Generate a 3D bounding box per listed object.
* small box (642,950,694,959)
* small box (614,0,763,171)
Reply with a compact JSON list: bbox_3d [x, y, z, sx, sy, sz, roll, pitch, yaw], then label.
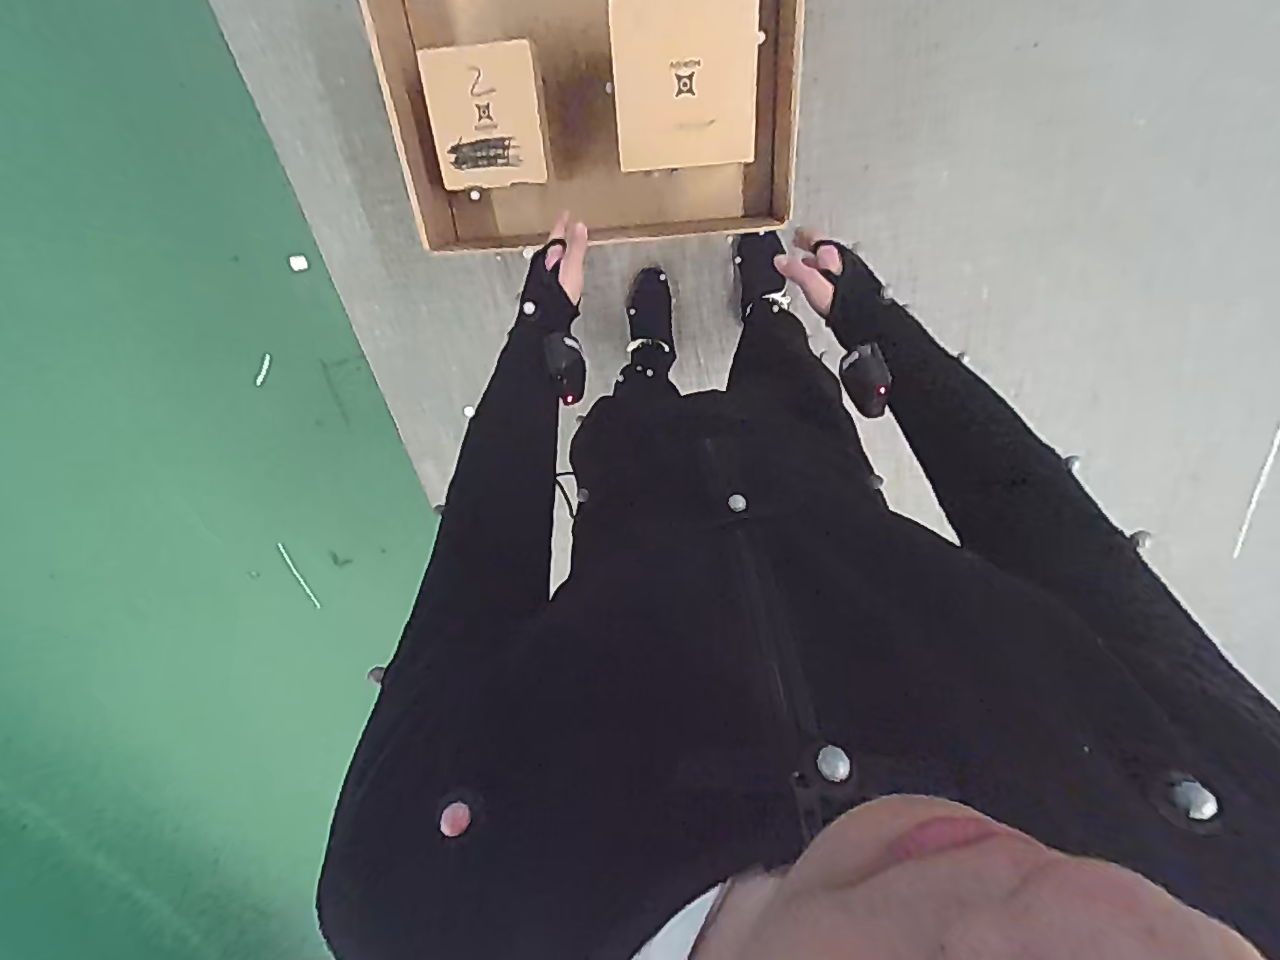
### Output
[{"bbox_3d":[0.093,1.616,1.693,0.168,0.176,0.179,-7,119,9],"label":"small box"},{"bbox_3d":[0.060,-0.498,0.687,0.168,0.176,0.179,0,120,6],"label":"small box"}]
